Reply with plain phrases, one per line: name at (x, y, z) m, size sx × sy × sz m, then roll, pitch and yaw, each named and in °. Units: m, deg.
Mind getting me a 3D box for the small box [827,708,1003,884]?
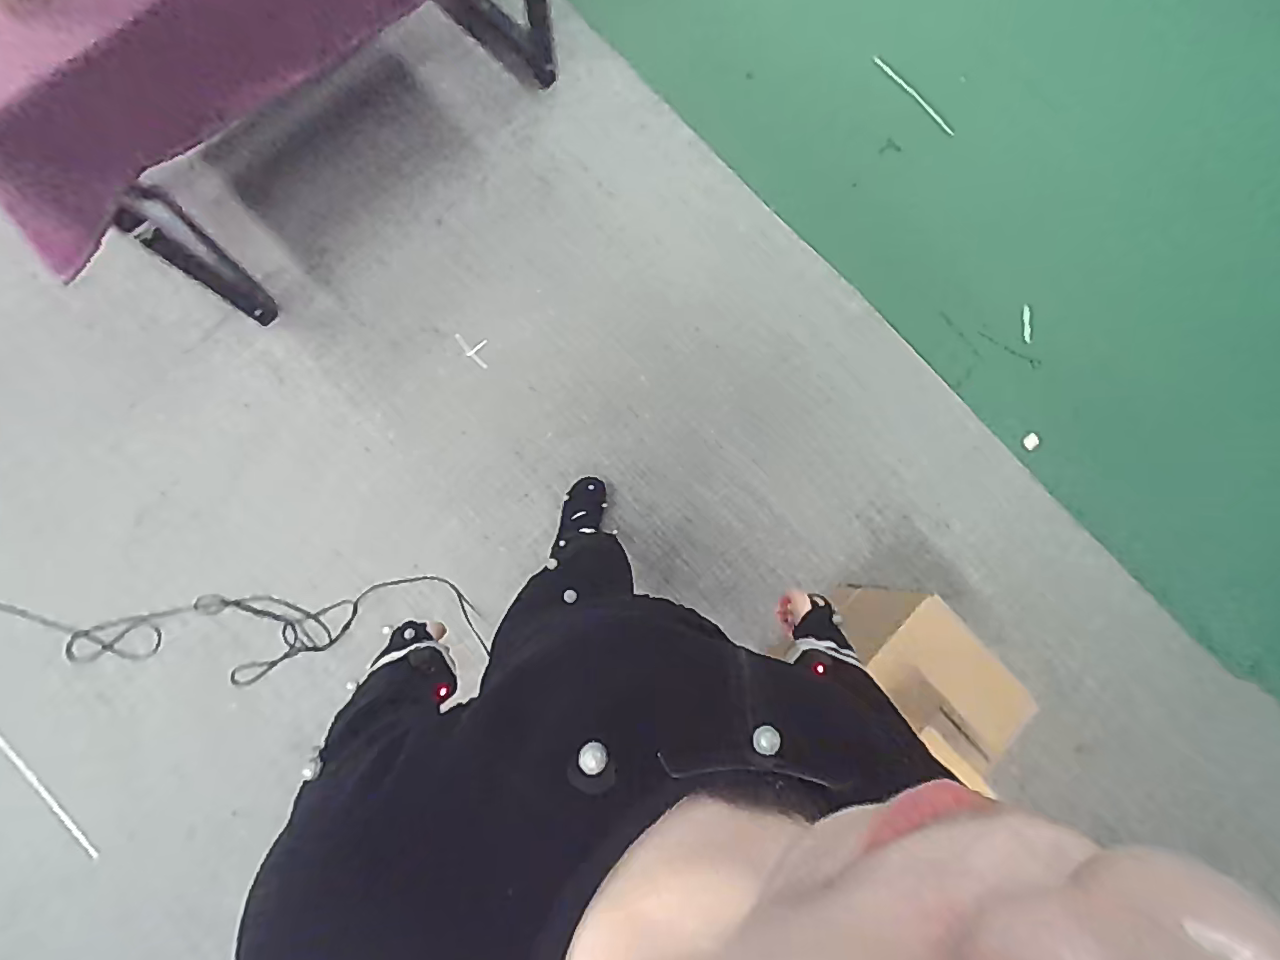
small box at (0.468, 0.535, 0.946) m, size 0.168 × 0.176 × 0.179 m, roll -43°, pitch 87°, yaw -9°
